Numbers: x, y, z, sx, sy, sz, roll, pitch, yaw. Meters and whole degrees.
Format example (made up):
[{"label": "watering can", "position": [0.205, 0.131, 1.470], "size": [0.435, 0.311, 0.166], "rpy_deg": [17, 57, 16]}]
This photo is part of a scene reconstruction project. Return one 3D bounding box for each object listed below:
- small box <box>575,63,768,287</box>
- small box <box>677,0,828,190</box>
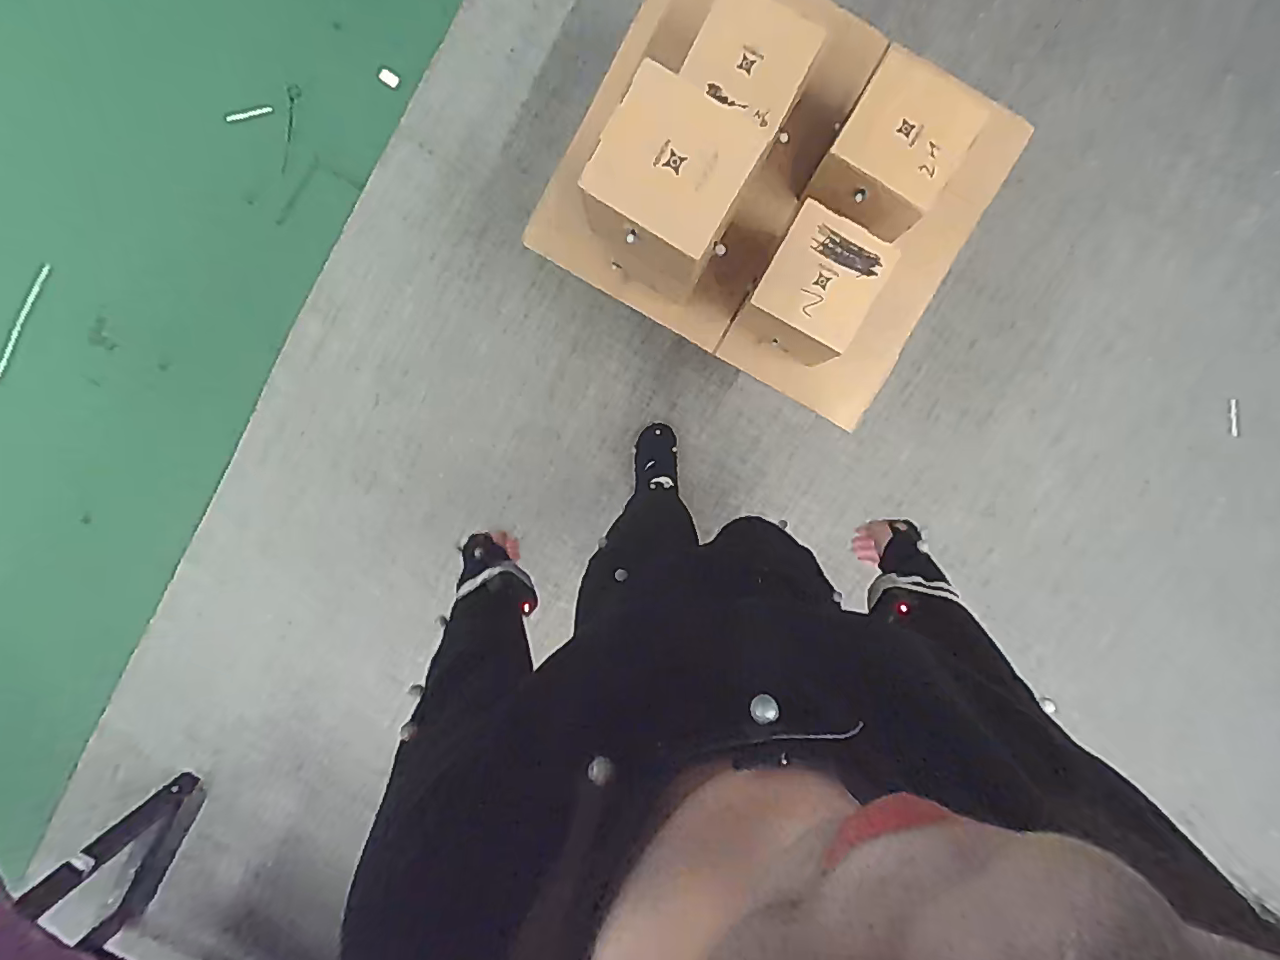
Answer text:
[{"label": "small box", "position": [0.038, -0.382, 0.717], "size": [0.179, 0.176, 0.168], "rpy_deg": [31, 97, -2]}, {"label": "small box", "position": [0.160, -0.606, 0.855], "size": [0.168, 0.176, 0.179], "rpy_deg": [28, 94, 0]}]
